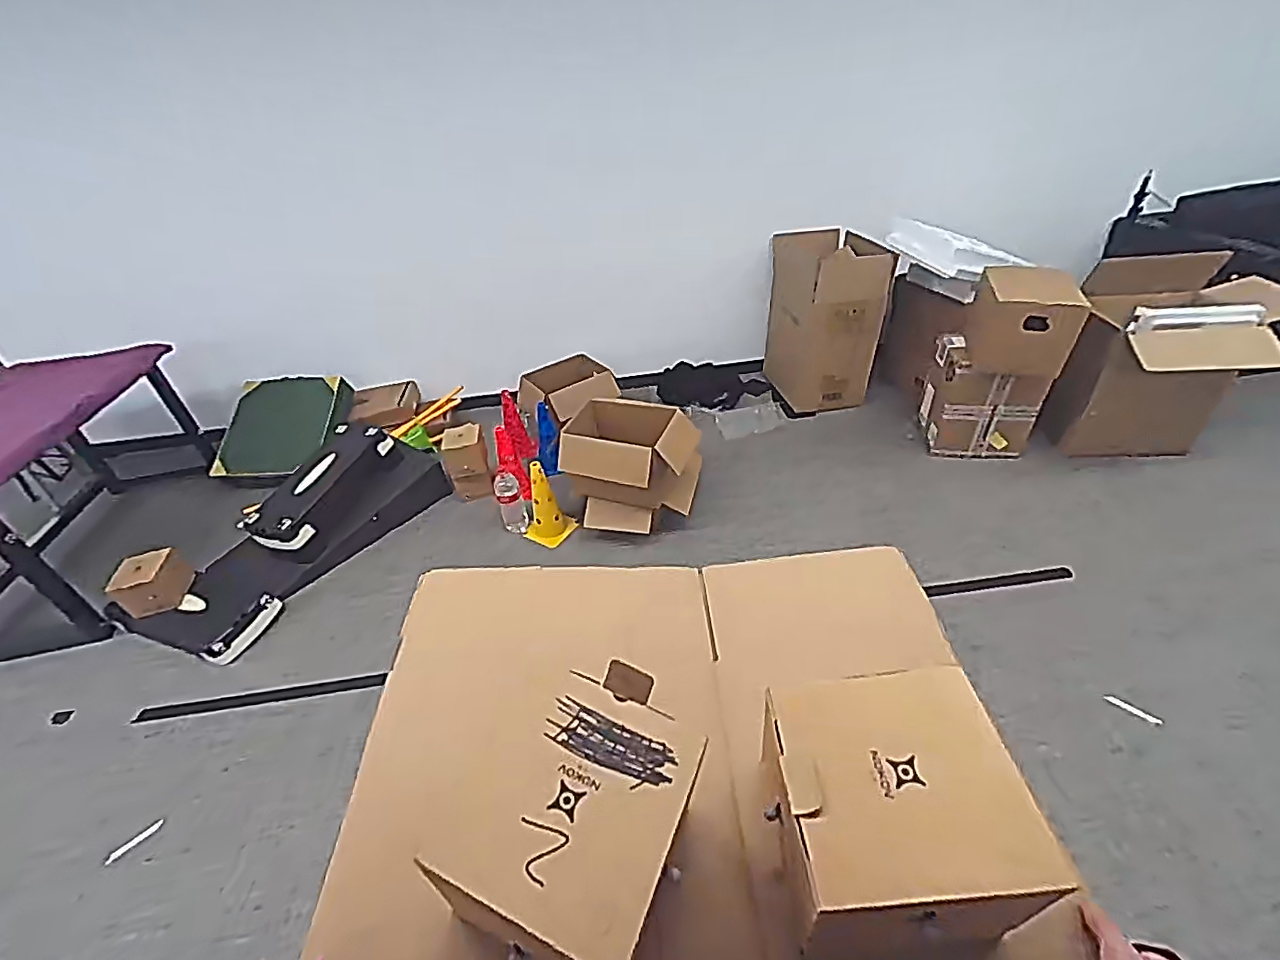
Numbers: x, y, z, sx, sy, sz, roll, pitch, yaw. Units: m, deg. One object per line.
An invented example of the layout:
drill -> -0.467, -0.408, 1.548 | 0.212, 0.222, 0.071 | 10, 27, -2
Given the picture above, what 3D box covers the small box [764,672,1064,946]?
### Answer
small box -> 0.217, 0.299, 0.491 | 0.179, 0.176, 0.168 | -8, 41, 3
